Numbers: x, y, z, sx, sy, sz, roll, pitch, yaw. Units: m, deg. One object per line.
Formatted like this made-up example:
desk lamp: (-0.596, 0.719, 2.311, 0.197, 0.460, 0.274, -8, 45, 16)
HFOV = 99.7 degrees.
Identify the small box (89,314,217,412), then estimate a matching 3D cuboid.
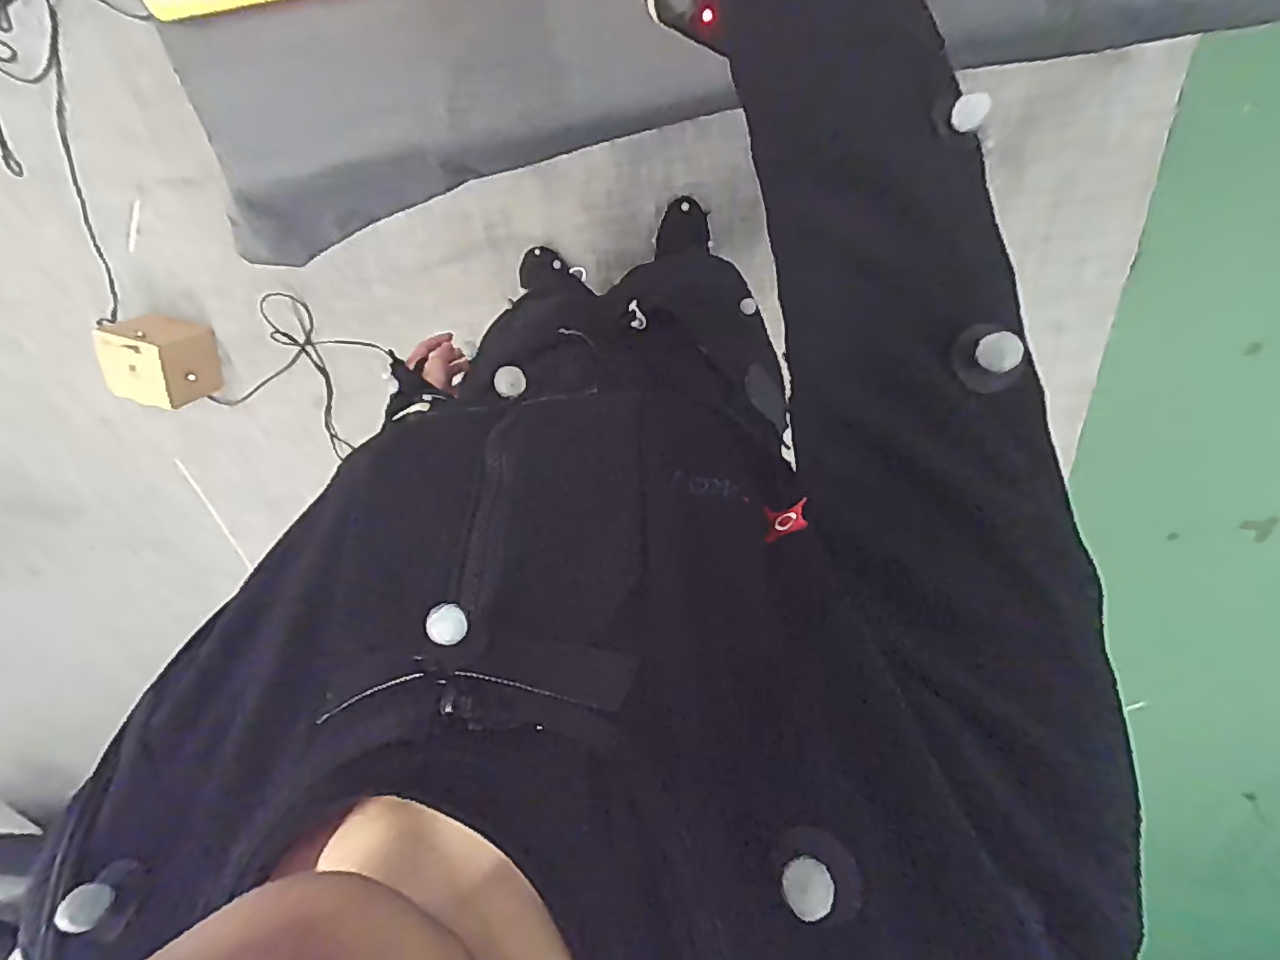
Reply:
small box: (-1.235, -0.305, 1.390, 0.168, 0.176, 0.179, 15, 121, -1)
